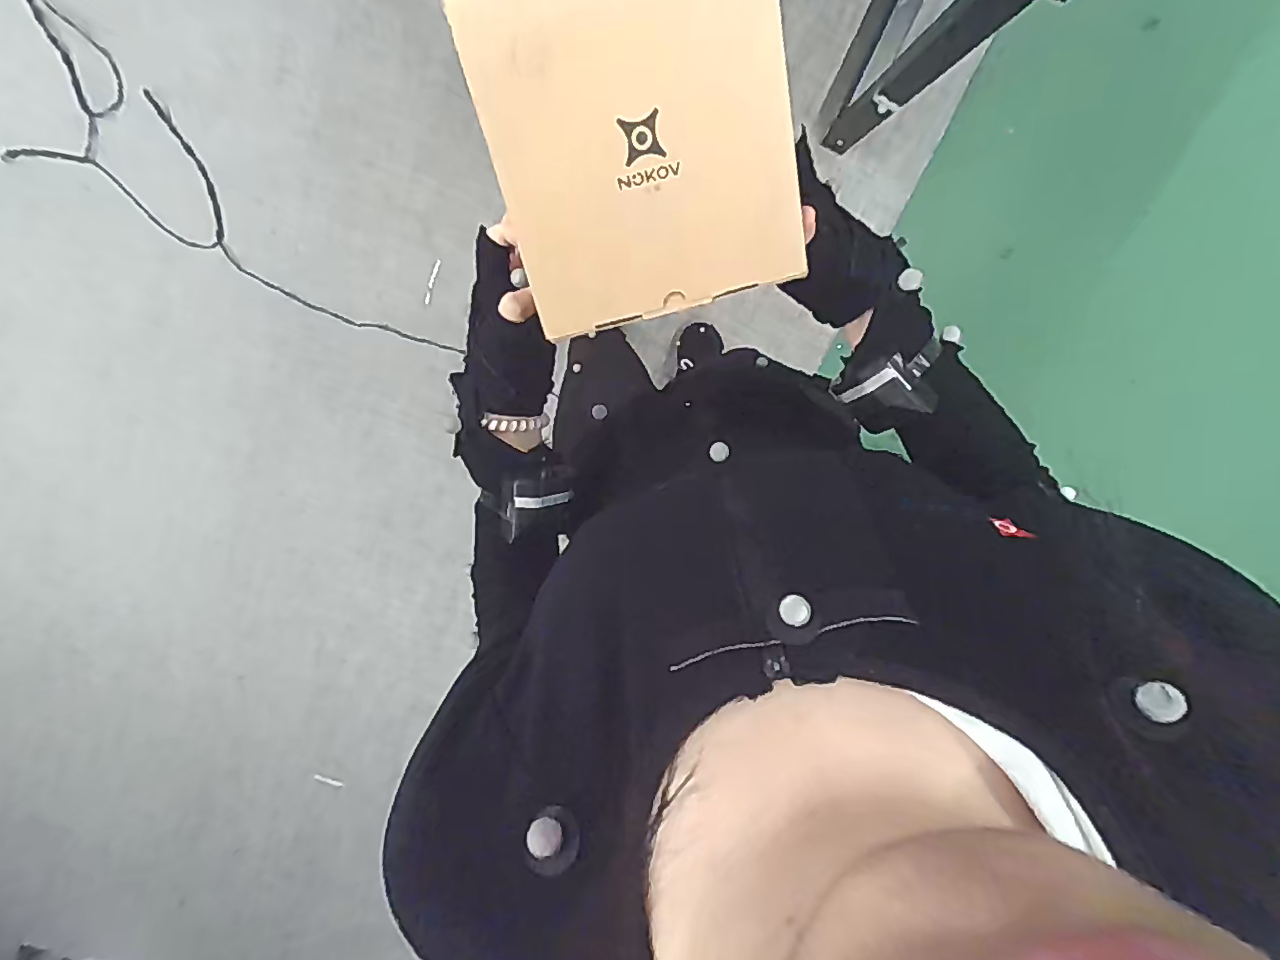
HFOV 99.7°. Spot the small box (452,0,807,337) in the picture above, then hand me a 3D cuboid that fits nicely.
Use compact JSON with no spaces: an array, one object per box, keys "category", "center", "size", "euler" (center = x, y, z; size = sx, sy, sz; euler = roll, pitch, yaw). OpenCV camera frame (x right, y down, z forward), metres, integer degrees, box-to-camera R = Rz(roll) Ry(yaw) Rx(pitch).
[{"category":"small box","center":[-0.003,-0.214,0.368],"size":[0.168,0.176,0.179],"euler":[-14,115,2]}]
